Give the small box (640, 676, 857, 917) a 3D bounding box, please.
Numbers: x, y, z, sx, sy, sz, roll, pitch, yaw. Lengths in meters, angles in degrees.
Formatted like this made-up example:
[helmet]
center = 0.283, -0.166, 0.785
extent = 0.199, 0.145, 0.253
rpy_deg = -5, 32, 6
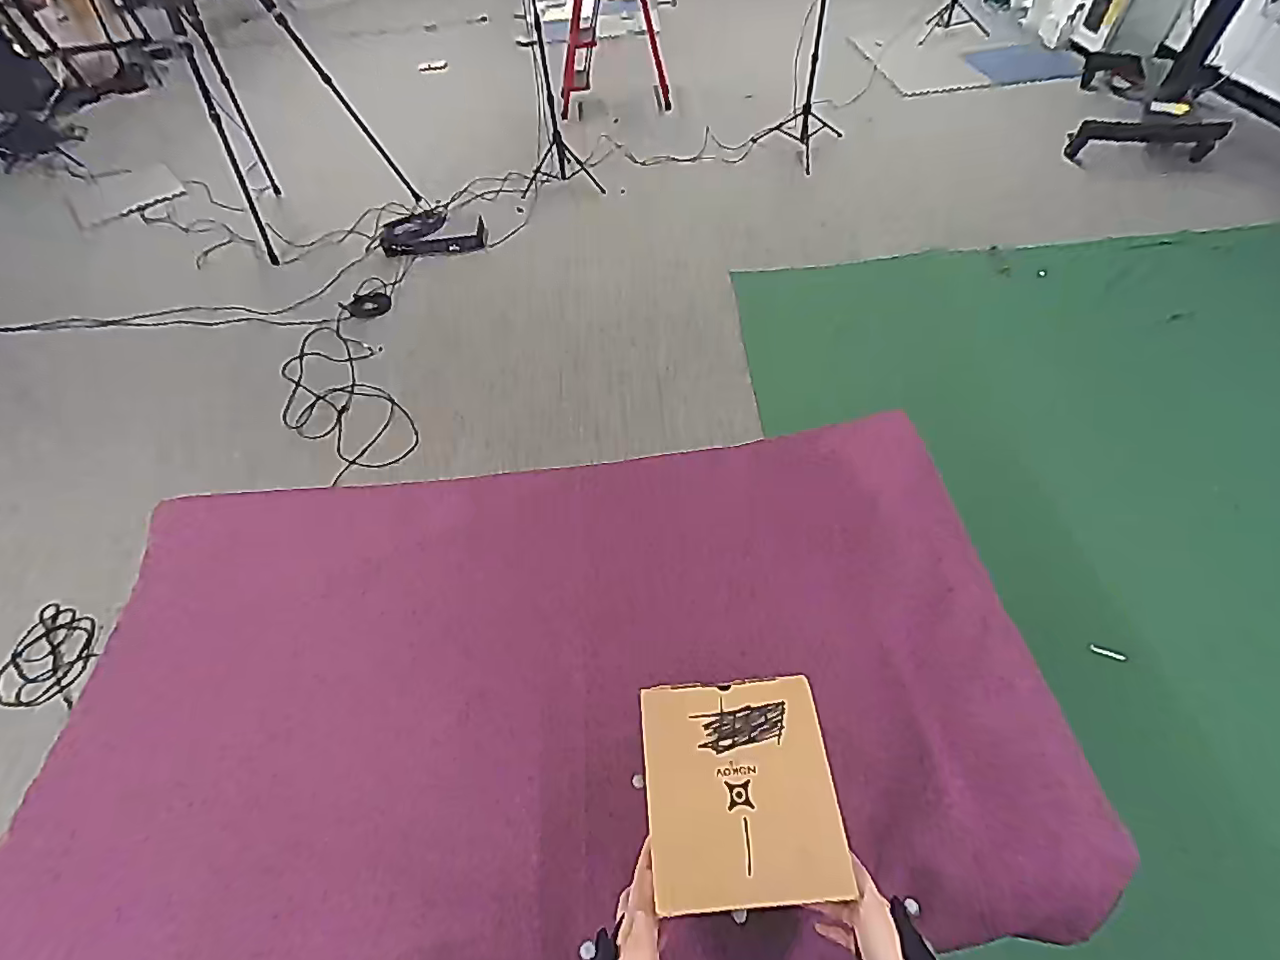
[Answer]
[small box]
center = 0.088, 0.310, 0.534
extent = 0.168, 0.176, 0.179
rpy_deg = -5, 55, 1
